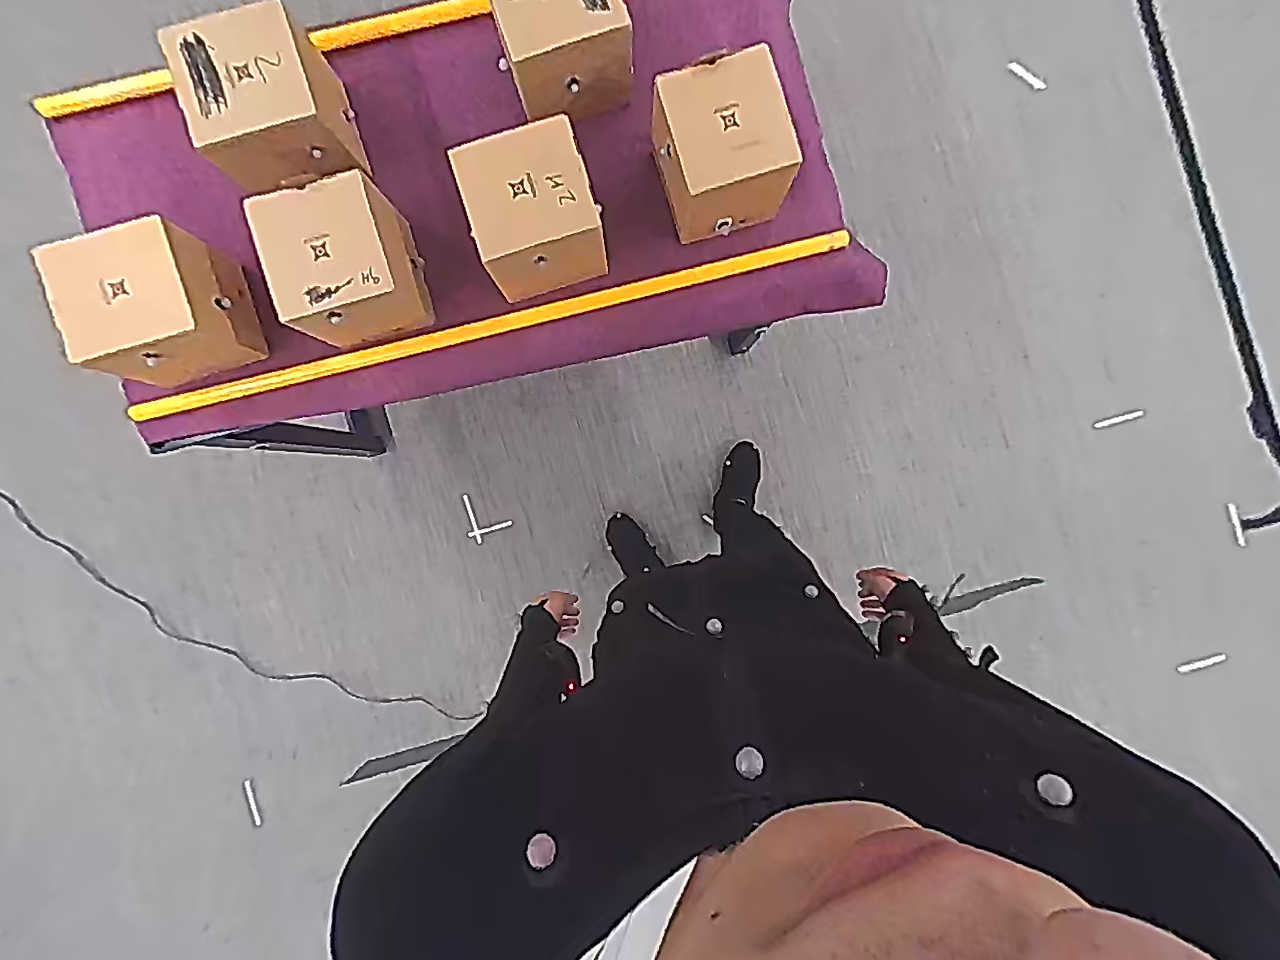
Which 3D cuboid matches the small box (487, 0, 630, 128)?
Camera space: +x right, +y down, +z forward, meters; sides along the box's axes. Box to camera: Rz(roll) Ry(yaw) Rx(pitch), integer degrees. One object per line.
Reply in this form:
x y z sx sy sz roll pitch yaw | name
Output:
-0.122 -0.669 0.817 0.179 0.176 0.168 -19 92 0 | small box

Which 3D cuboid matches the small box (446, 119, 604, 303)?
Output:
-0.161 -0.390 0.817 0.179 0.176 0.168 -18 89 -1 | small box

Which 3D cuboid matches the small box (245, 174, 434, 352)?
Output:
-0.437 -0.313 0.814 0.168 0.176 0.179 -16 90 0 | small box

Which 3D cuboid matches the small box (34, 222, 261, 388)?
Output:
-0.711 -0.249 0.809 0.179 0.176 0.168 -18 90 -2 | small box

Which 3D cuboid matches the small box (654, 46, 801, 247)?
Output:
0.120 -0.490 0.820 0.168 0.176 0.179 -17 88 1 | small box
